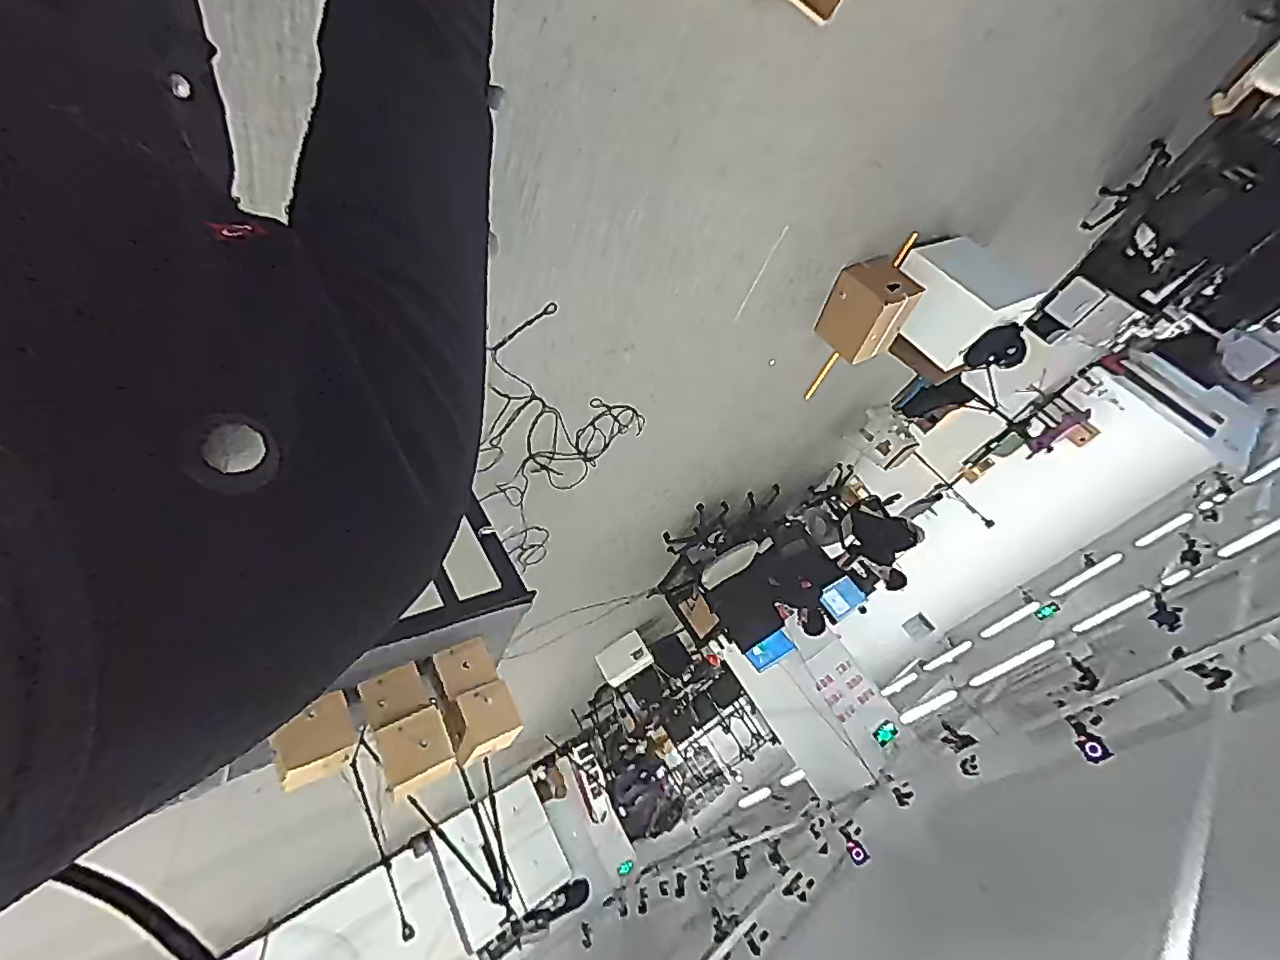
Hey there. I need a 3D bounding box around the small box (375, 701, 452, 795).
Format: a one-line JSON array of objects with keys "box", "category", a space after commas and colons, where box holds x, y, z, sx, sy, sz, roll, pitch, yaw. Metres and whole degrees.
[{"box": [-0.663, 0.773, 1.575, 0.168, 0.176, 0.179, -16, 149, -34], "category": "small box"}]
